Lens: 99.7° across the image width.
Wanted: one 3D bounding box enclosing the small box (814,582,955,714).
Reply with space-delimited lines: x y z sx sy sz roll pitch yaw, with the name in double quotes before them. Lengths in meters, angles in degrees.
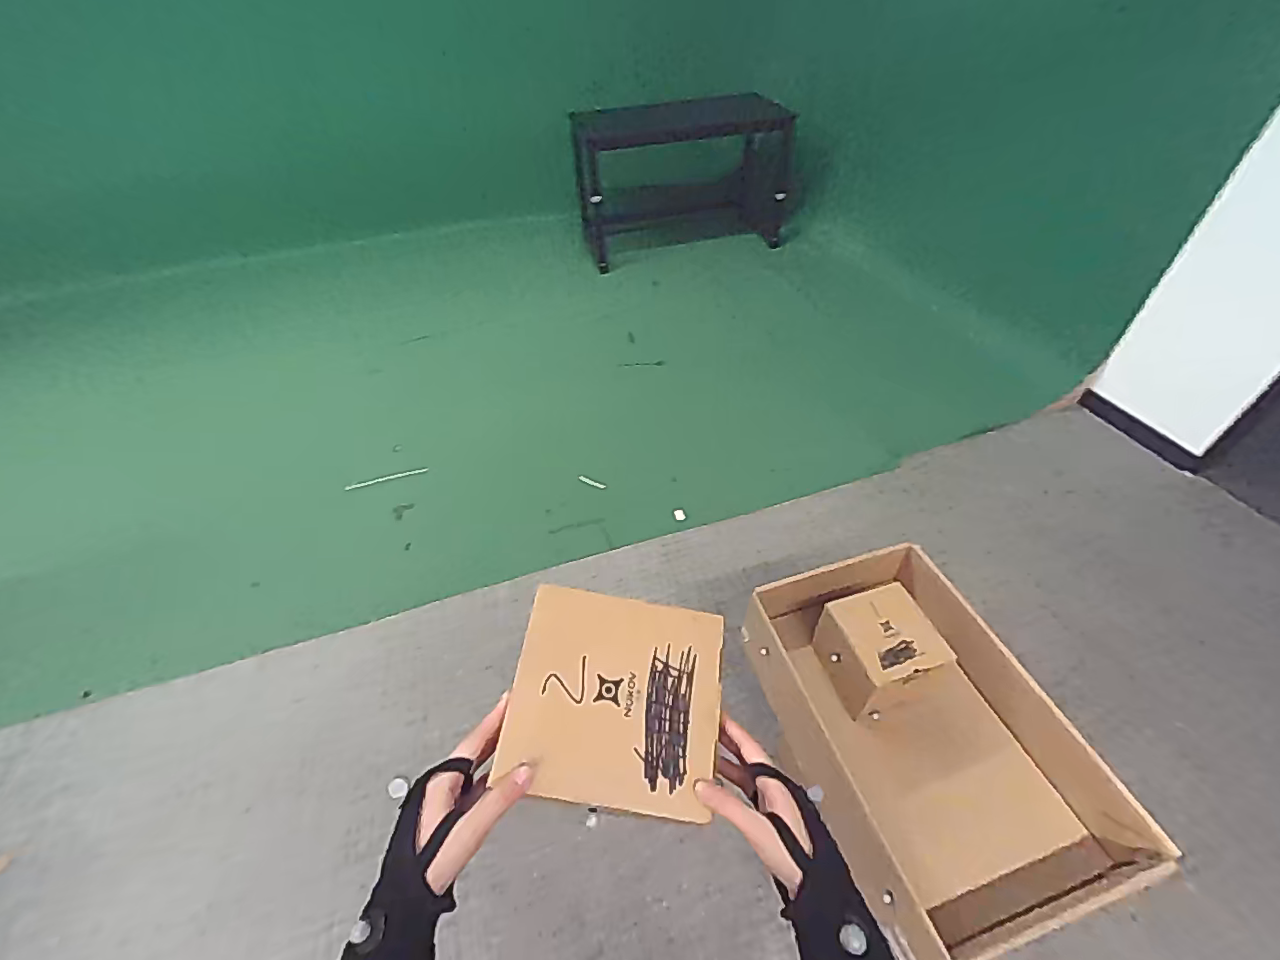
"small box" 0.462 0.333 1.053 0.168 0.176 0.179 -14 45 -9
